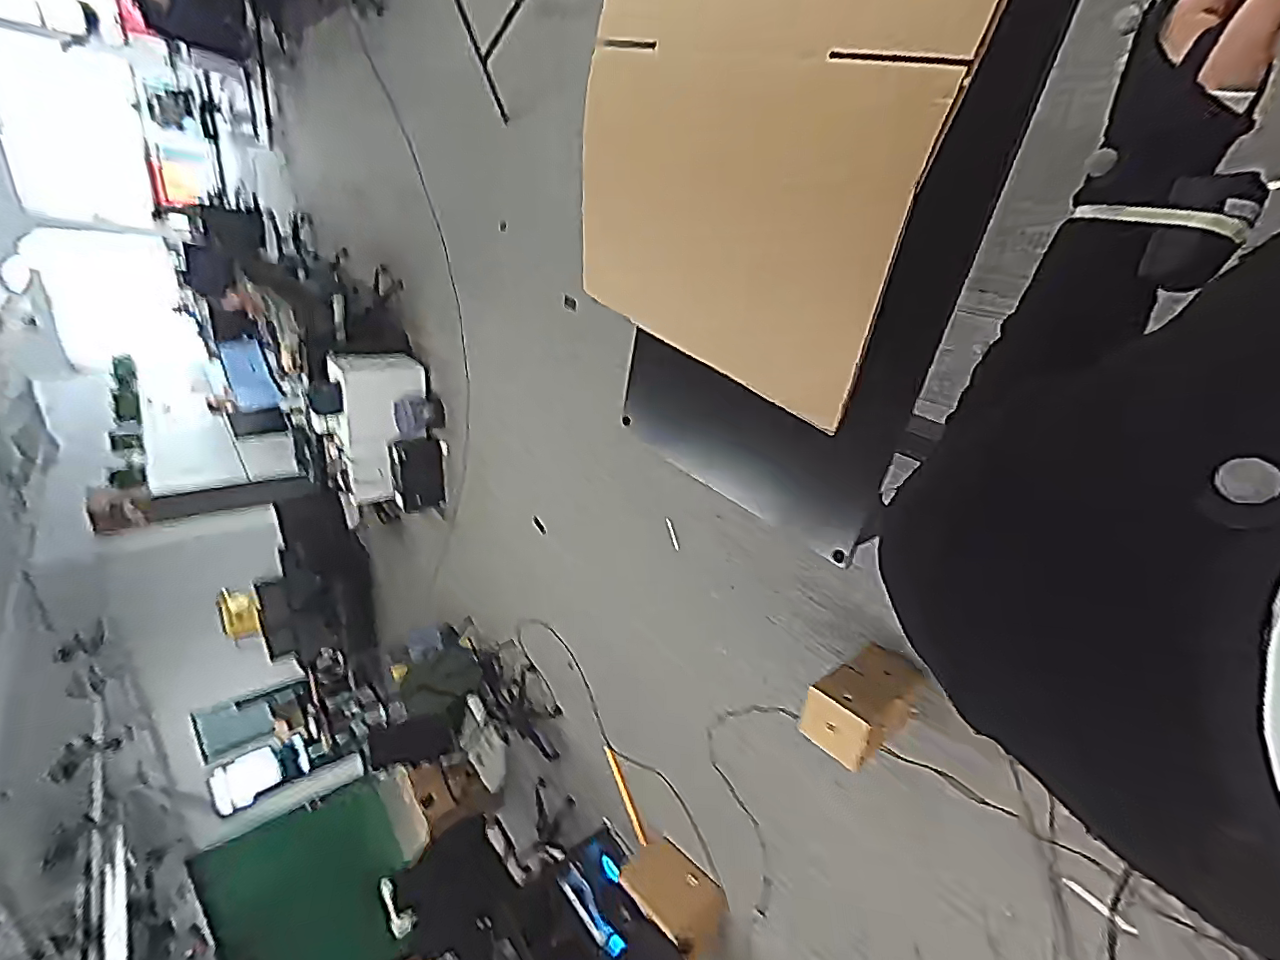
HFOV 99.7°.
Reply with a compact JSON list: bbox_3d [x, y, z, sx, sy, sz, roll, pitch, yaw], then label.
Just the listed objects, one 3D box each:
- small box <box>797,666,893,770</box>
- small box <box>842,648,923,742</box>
[{"bbox_3d":[0.570,0.649,1.501,0.179,0.176,0.168,28,119,45],"label":"small box"},{"bbox_3d":[0.697,0.622,1.598,0.179,0.176,0.168,30,122,41],"label":"small box"}]
